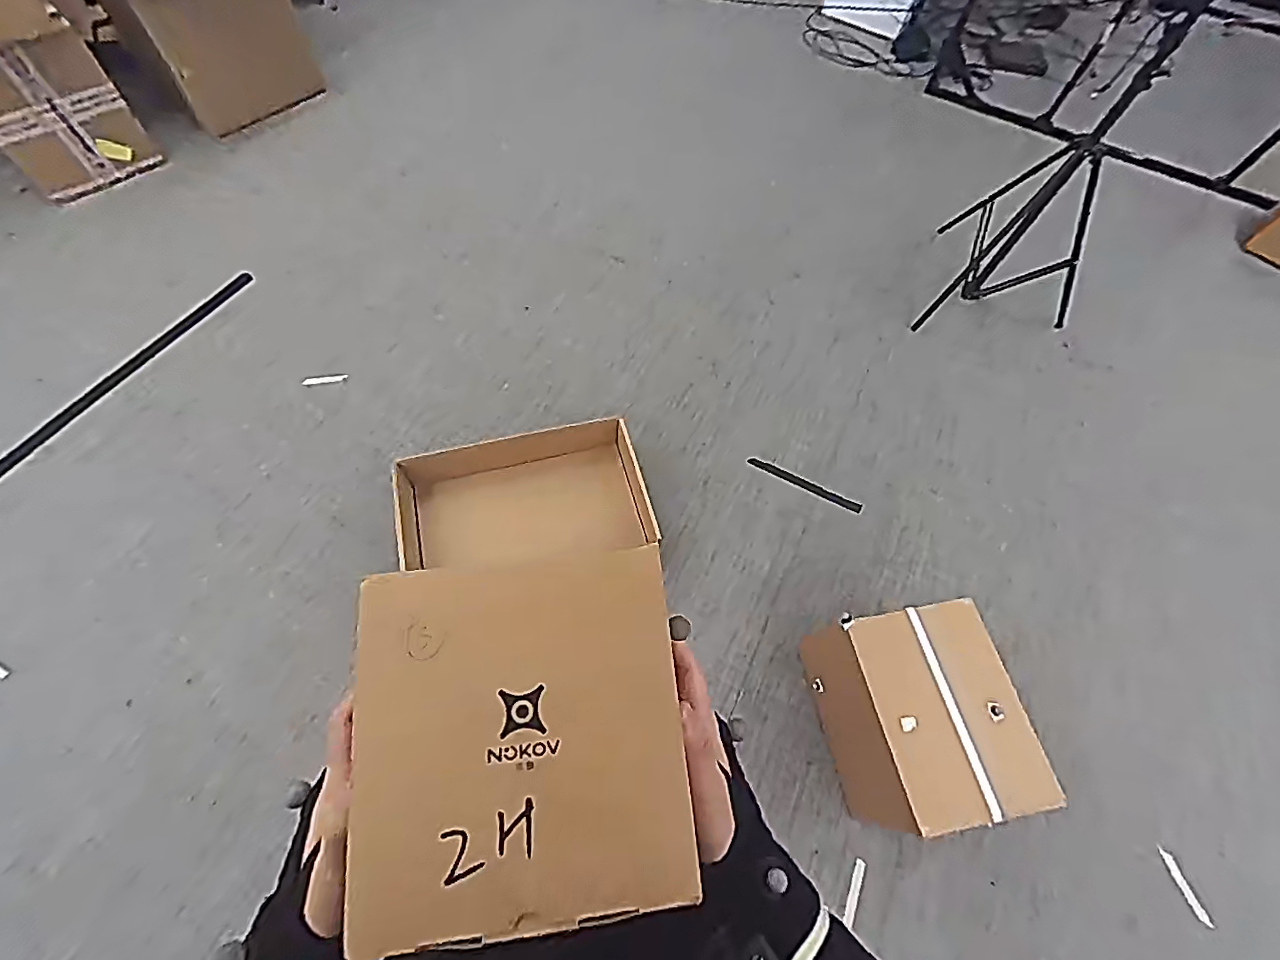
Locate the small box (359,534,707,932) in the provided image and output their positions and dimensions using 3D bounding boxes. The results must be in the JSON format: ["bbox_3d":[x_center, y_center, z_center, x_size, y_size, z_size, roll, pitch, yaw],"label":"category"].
[{"bbox_3d":[-0.062,0.144,0.356,0.168,0.176,0.179,-5,72,-6],"label":"small box"}]
